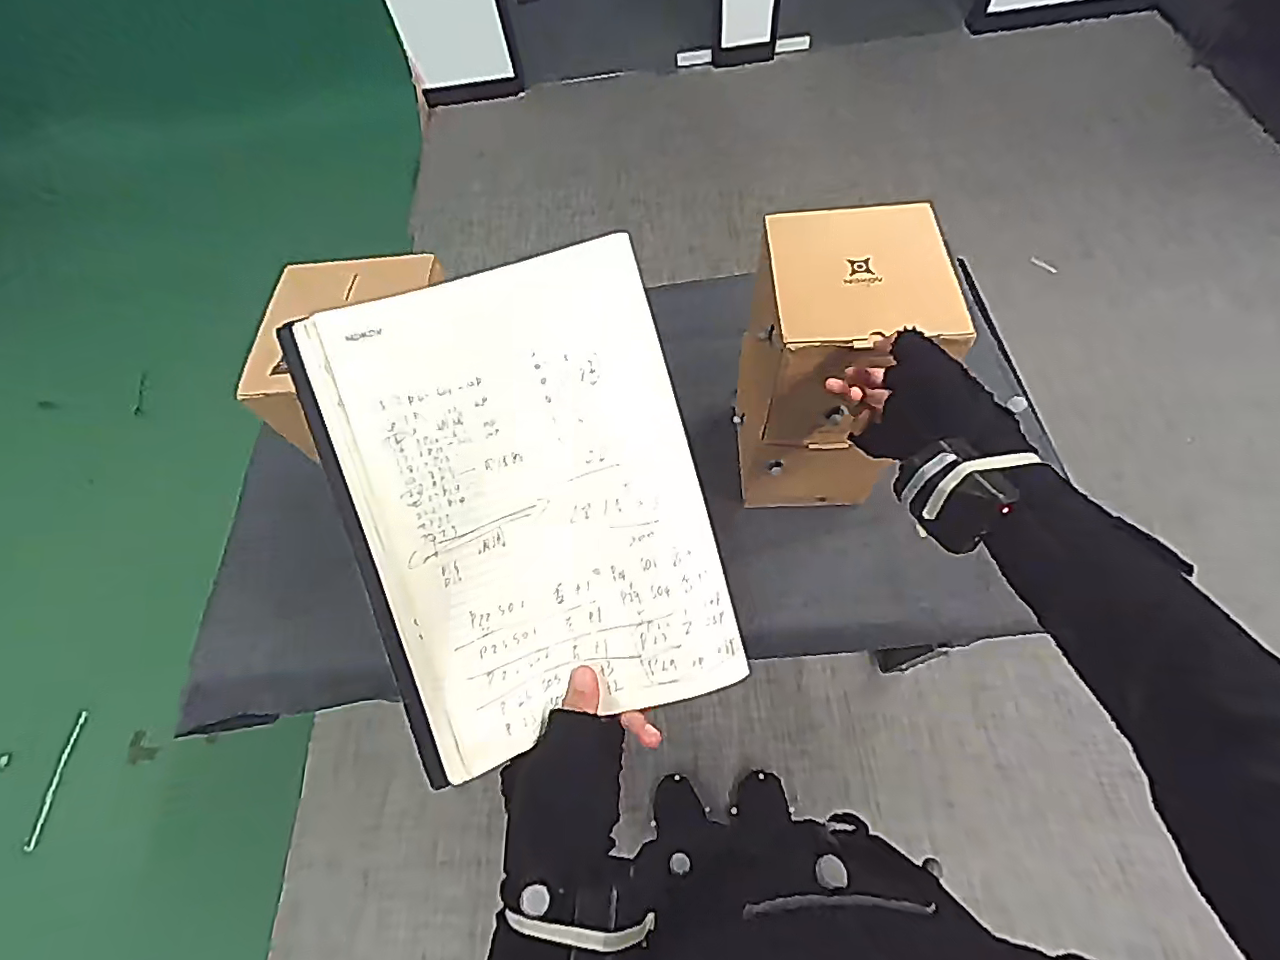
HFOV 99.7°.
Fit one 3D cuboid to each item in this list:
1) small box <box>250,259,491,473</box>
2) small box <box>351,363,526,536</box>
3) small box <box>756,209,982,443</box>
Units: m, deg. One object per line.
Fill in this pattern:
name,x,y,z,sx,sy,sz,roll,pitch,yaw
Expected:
small box,-0.279,-0.116,0.609,0.168,0.176,0.179,-3,61,4
small box,-0.262,-0.037,0.752,0.168,0.176,0.179,-5,62,4
small box,0.222,-0.158,0.582,0.168,0.176,0.179,-2,62,5
